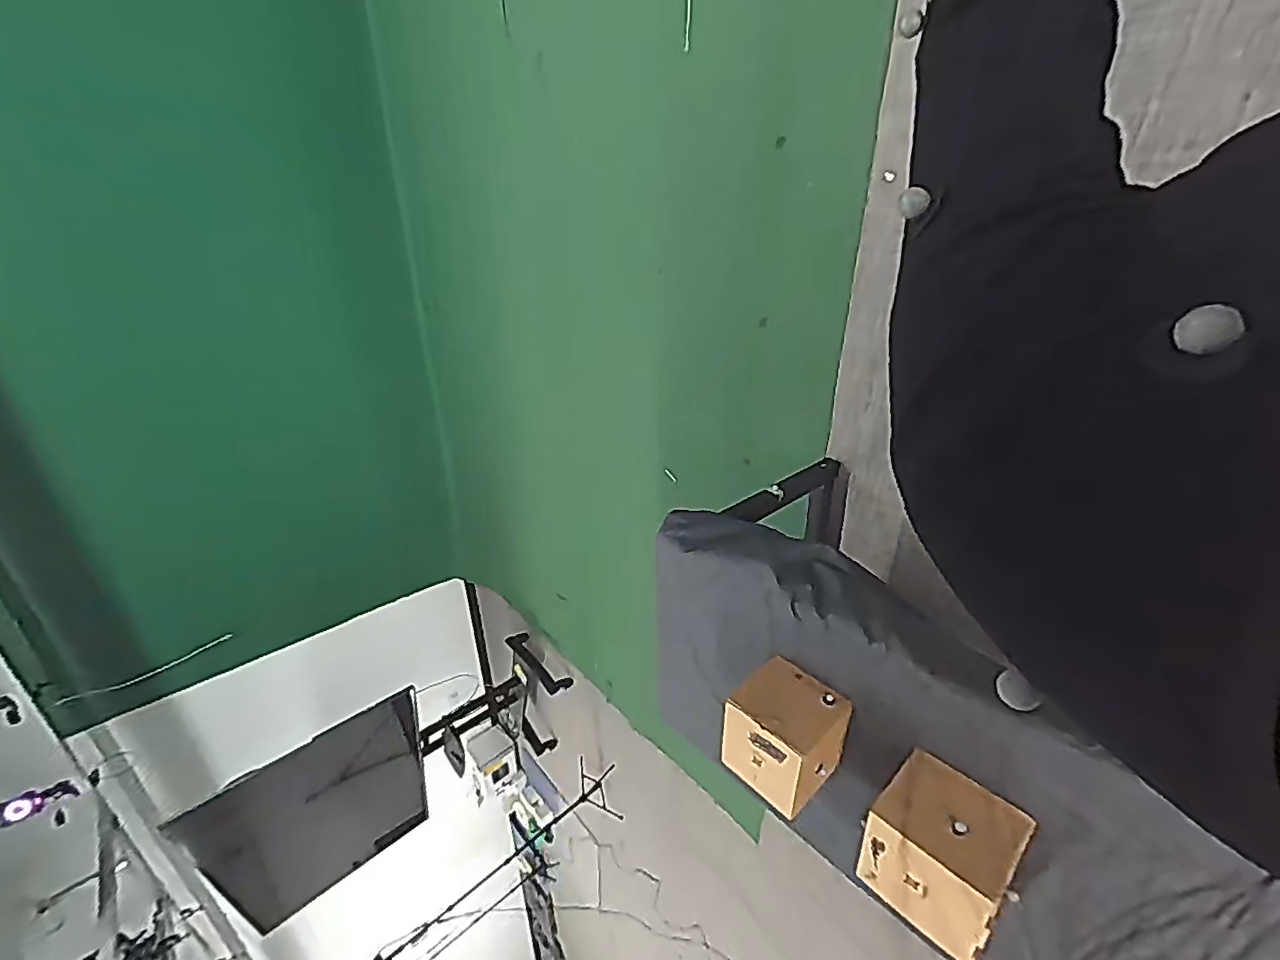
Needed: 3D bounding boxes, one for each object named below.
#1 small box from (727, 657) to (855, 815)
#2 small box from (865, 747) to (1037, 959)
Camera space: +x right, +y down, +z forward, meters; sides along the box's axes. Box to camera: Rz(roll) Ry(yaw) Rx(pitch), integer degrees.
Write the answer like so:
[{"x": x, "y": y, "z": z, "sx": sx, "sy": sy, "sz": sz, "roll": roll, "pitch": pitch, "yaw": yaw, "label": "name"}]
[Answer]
[{"x": 0.288, "y": 0.476, "z": 1.033, "sx": 0.168, "sy": 0.176, "sz": 0.179, "roll": 25, "pitch": 127, "yaw": 42, "label": "small box"}, {"x": 0.482, "y": 0.563, "z": 0.842, "sx": 0.179, "sy": 0.176, "sz": 0.168, "roll": 22, "pitch": 124, "yaw": 42, "label": "small box"}]
